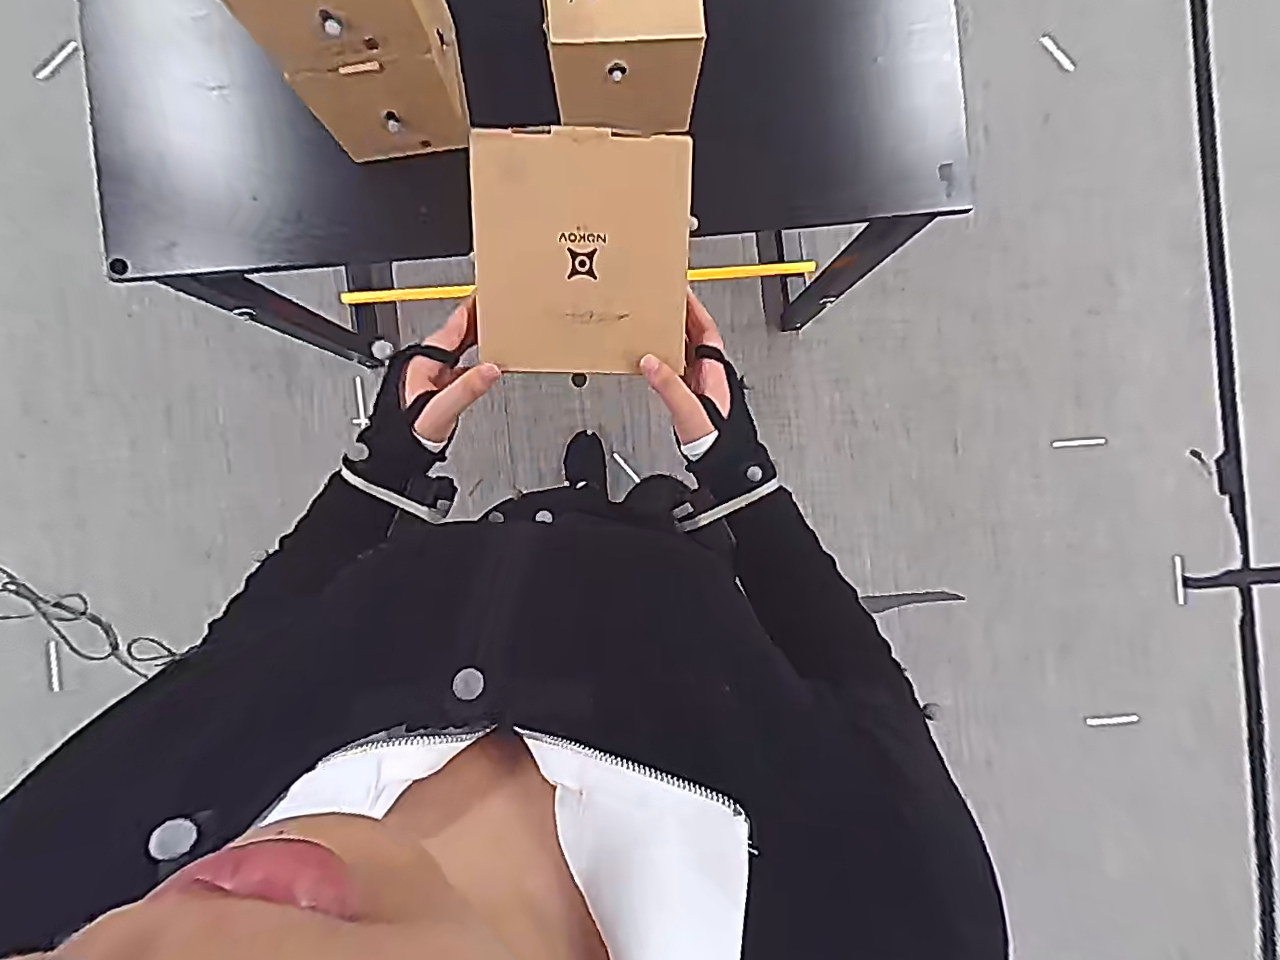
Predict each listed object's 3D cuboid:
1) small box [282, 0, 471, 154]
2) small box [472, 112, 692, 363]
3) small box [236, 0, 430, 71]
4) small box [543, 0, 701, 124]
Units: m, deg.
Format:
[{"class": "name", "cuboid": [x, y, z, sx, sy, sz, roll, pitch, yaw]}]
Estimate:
[{"class": "small box", "cuboid": [-0.323, -0.536, 0.672, 0.168, 0.176, 0.179, -9, 91, -1]}, {"class": "small box", "cuboid": [-0.048, -0.199, 0.494, 0.168, 0.176, 0.179, 1, 103, -2]}, {"class": "small box", "cuboid": [-0.318, -0.539, 0.506, 0.168, 0.176, 0.179, -11, 91, -1]}, {"class": "small box", "cuboid": [-0.025, -0.565, 0.680, 0.179, 0.176, 0.168, -4, 91, -2]}]
